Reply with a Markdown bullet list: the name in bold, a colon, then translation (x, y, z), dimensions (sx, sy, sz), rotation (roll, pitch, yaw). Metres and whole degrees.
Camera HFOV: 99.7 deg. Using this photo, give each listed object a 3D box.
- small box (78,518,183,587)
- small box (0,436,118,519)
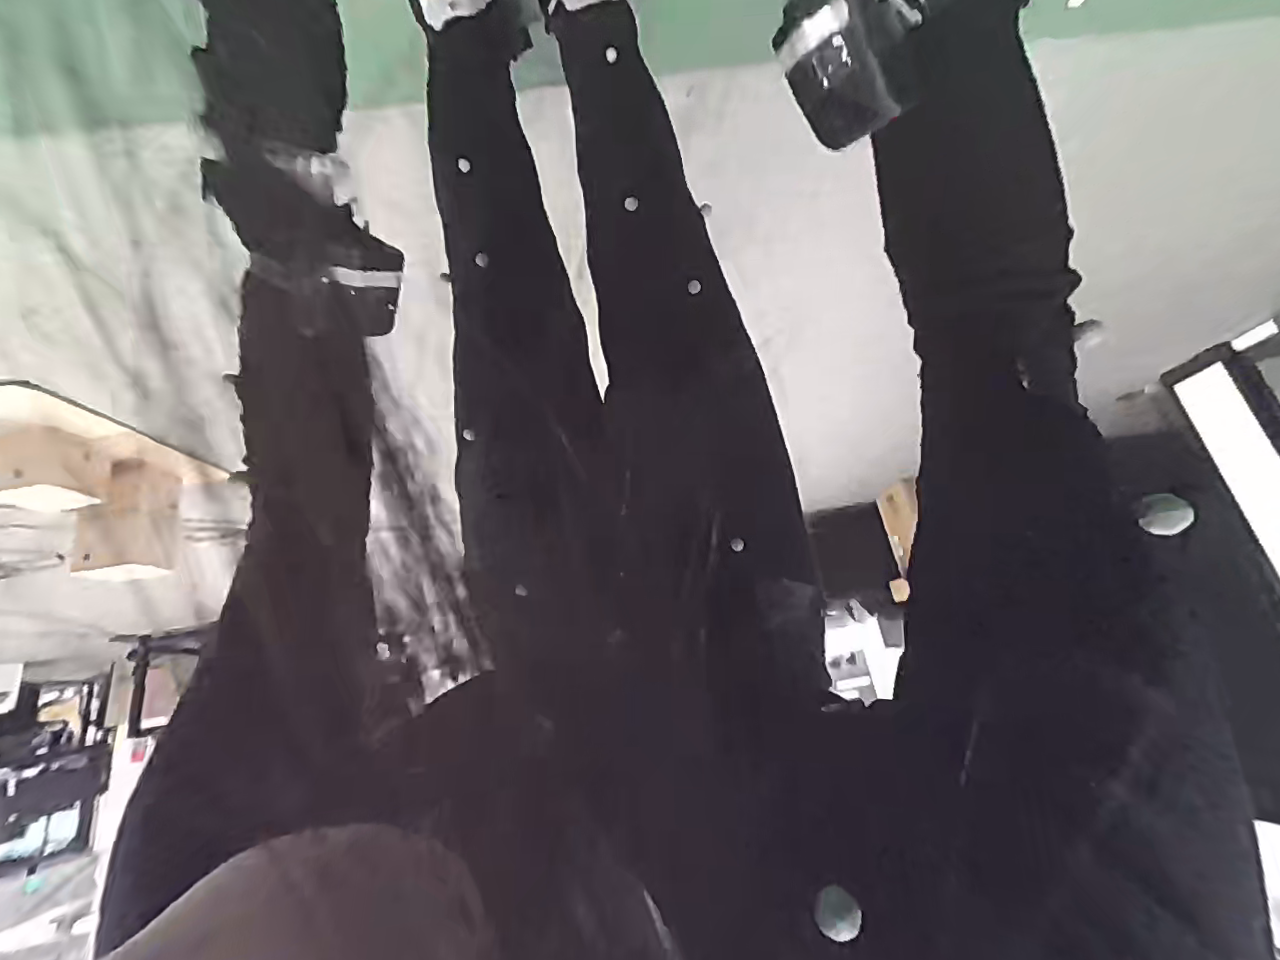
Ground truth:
- **small box**: translation (-1.589, 0.229, 1.699), dimensions (0.179, 0.176, 0.168), rotation (-10, 162, -5)
- **small box**: translation (-1.634, -0.006, 1.522), dimensions (0.179, 0.176, 0.168), rotation (-12, 160, -1)
